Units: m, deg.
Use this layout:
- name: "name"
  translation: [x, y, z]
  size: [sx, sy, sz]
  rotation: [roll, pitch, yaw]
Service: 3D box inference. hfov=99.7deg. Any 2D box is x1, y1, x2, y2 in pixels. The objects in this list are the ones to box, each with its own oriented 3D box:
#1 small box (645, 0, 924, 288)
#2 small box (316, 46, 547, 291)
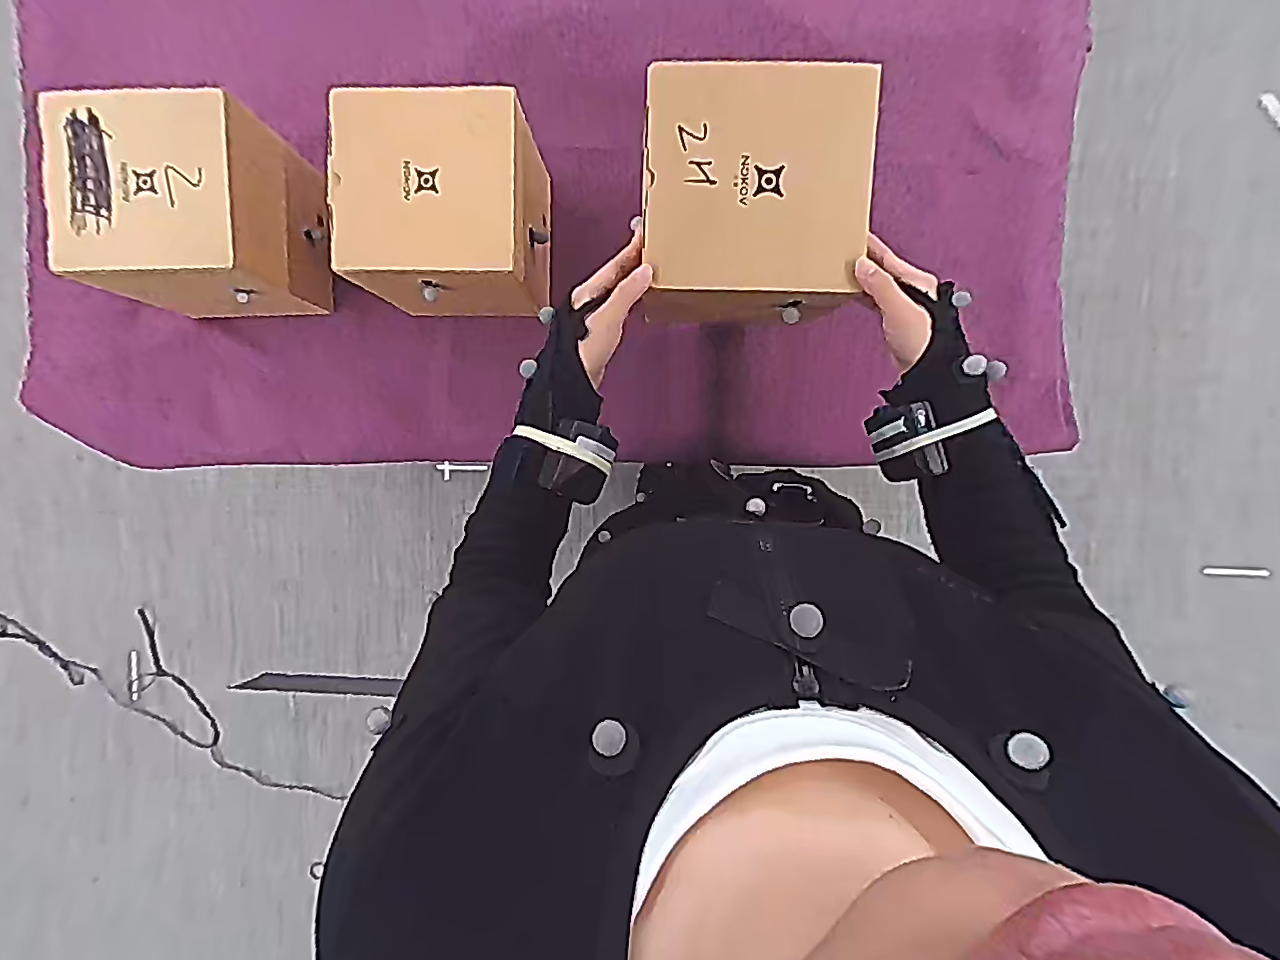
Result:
- name: "small box"
  translation: [0.096, -0.255, 0.443]
  size: [0.179, 0.176, 0.168]
  rotation: [2, 103, 2]
- name: "small box"
  translation: [-0.196, -0.300, 0.555]
  size: [0.179, 0.176, 0.168]
  rotation: [2, 95, 2]
